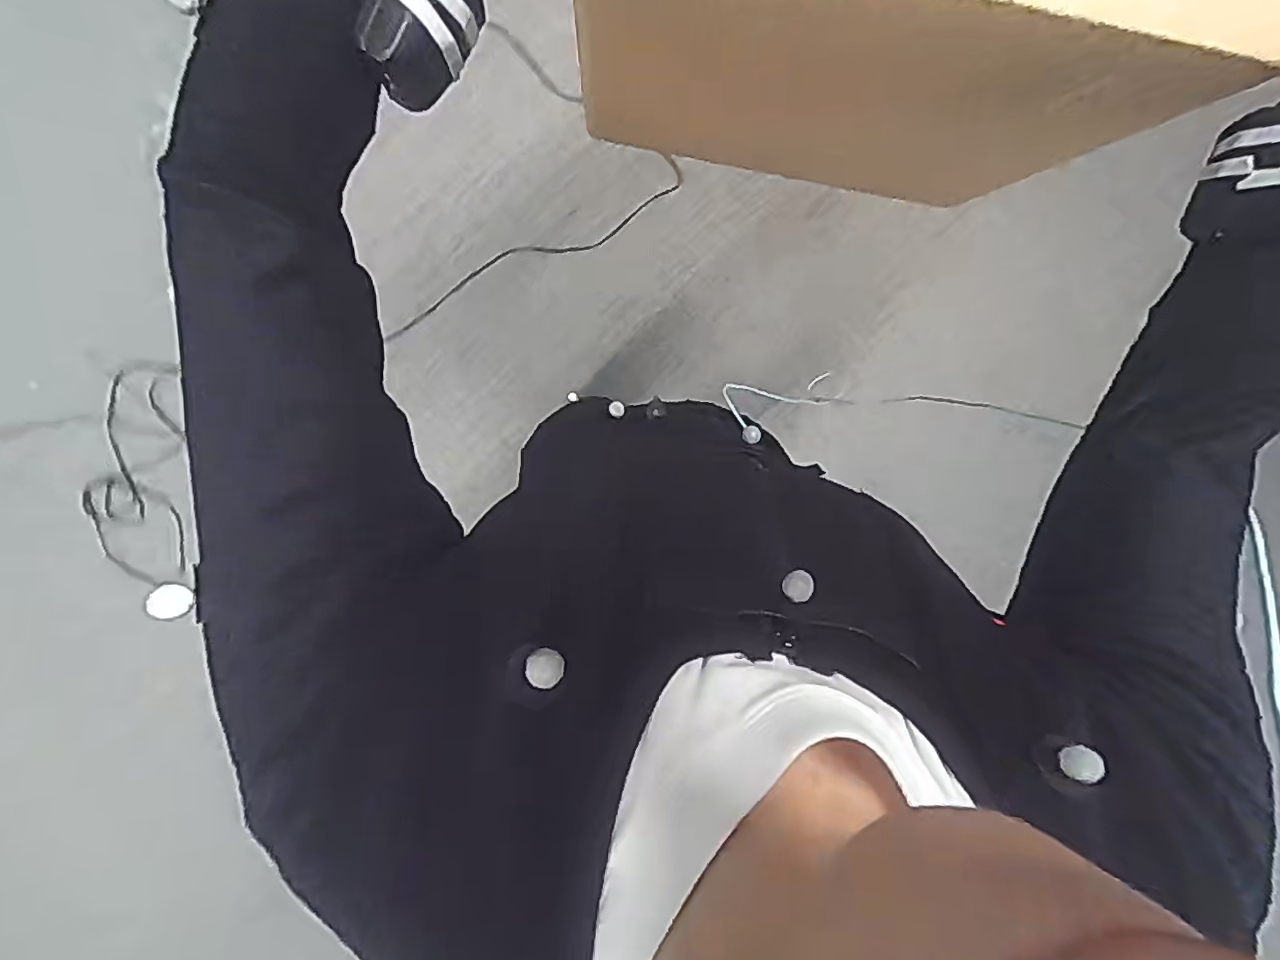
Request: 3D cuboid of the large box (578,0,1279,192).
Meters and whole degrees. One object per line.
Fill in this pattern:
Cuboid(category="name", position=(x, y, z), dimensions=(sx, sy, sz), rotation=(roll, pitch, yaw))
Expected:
Cuboid(category="large box", position=(0.166, -0.445, 0.398), dimensions=(0.408, 0.320, 0.320), rotation=(6, 104, -6))
